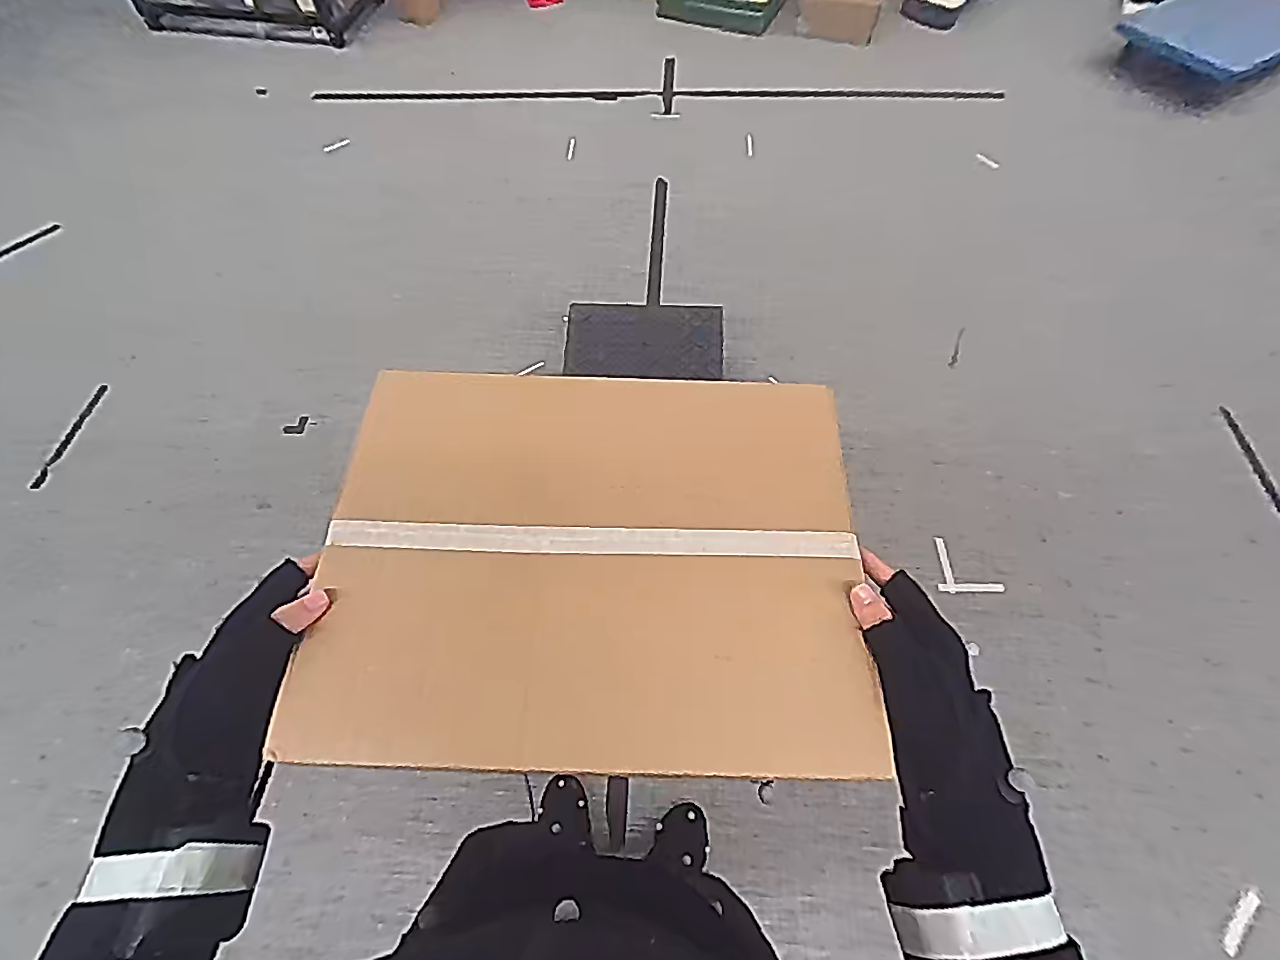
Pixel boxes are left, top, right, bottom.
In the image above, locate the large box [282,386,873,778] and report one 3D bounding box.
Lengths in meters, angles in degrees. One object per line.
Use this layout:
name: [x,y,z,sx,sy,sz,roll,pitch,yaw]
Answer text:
large box: [-0.040,0.121,0.559,0.408,0.320,0.320,2,62,-1]
